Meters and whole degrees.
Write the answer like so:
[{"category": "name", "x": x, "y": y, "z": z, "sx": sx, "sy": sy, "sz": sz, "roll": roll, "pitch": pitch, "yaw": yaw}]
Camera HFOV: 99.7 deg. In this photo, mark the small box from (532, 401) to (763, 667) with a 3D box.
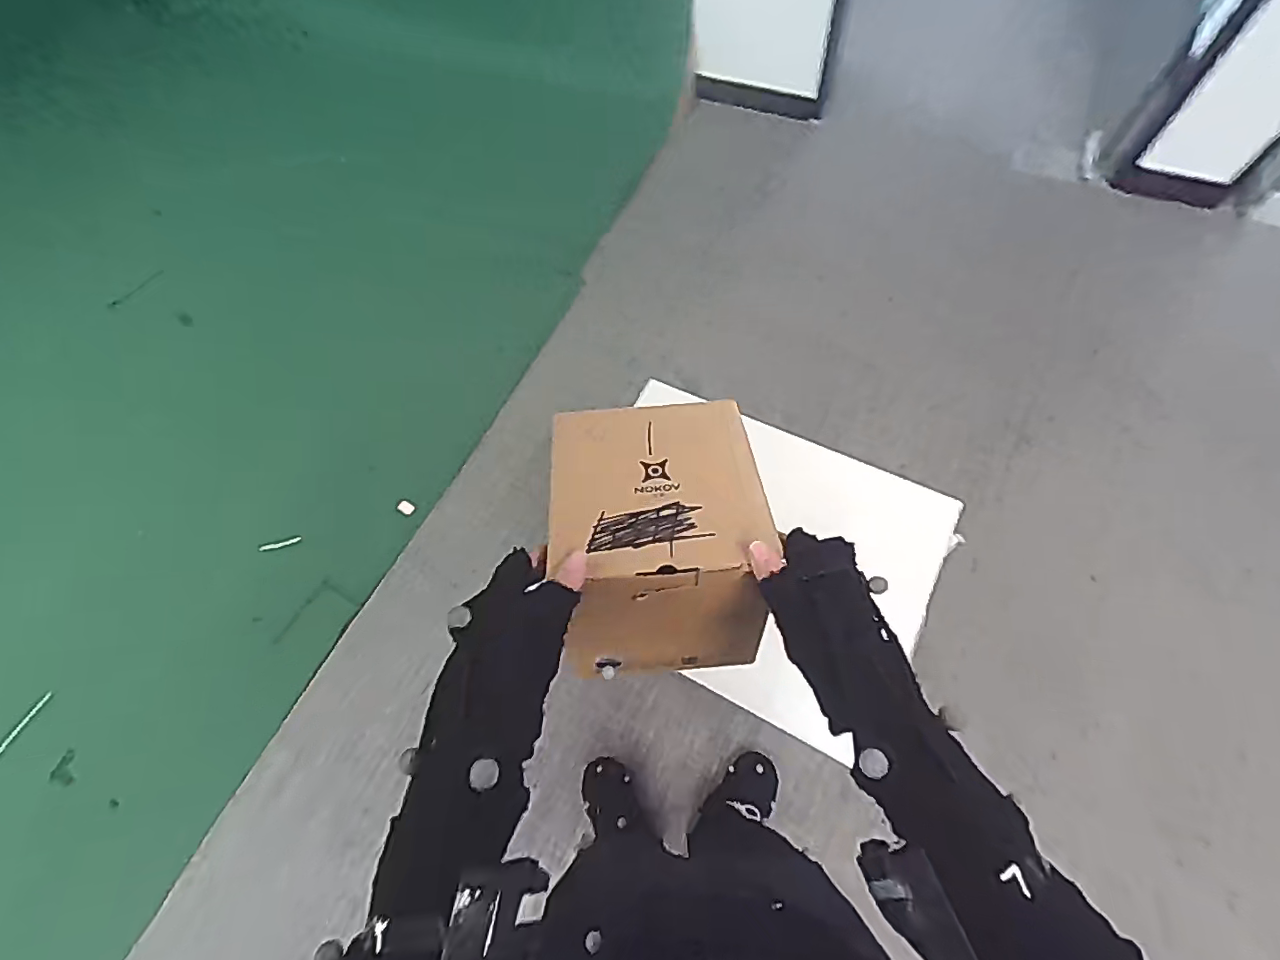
[{"category": "small box", "x": 0.005, "y": 0.054, "z": 0.486, "sx": 0.168, "sy": 0.176, "sz": 0.179, "roll": -5, "pitch": 47, "yaw": -1}]
